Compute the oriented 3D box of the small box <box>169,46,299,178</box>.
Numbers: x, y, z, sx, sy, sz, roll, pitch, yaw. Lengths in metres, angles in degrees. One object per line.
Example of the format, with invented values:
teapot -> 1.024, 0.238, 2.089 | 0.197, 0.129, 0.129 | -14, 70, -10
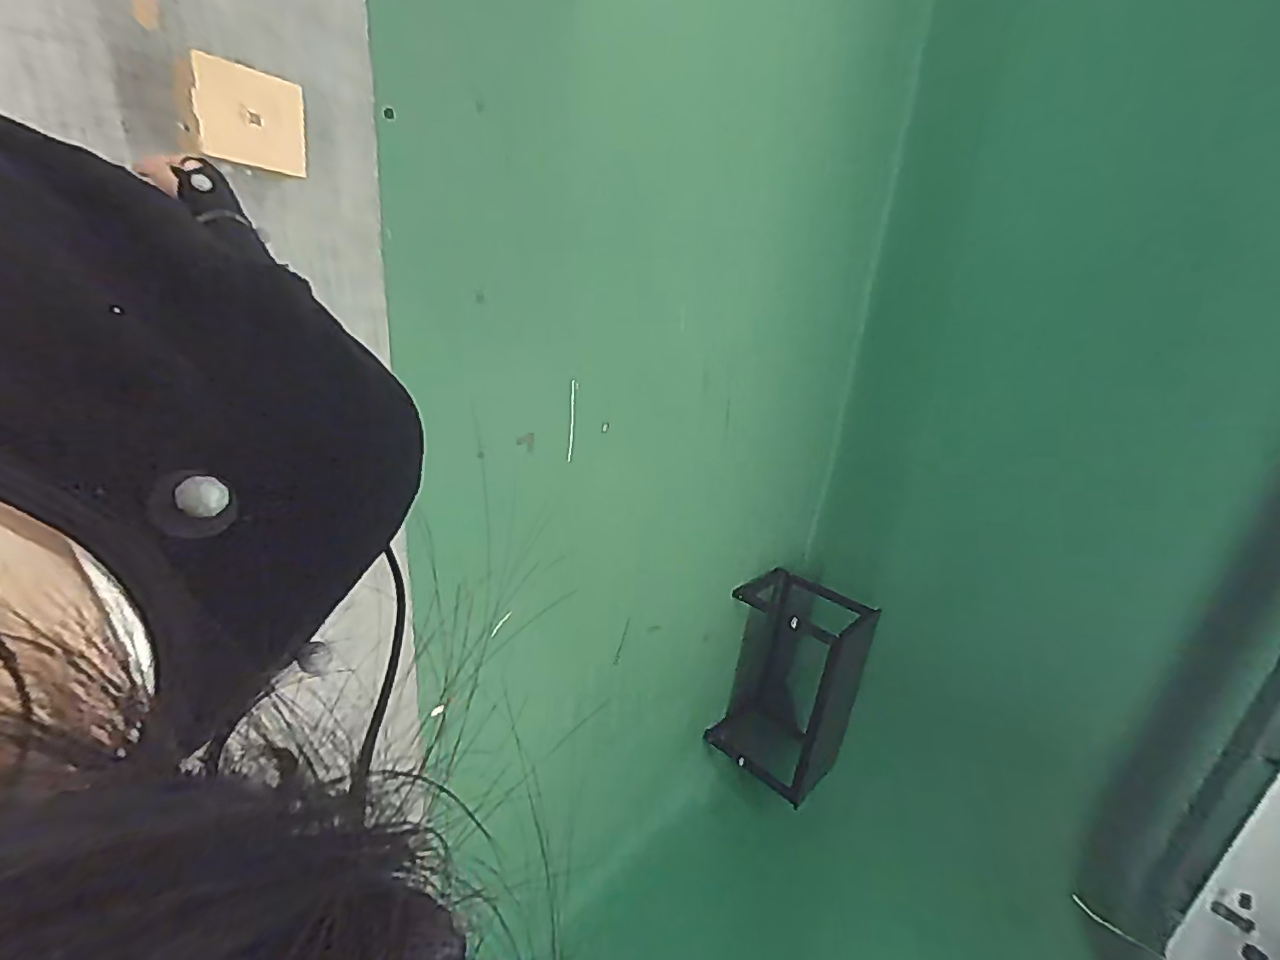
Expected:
small box -> -0.800, -0.707, 1.066 | 0.179, 0.176, 0.168 | -12, 116, -47
